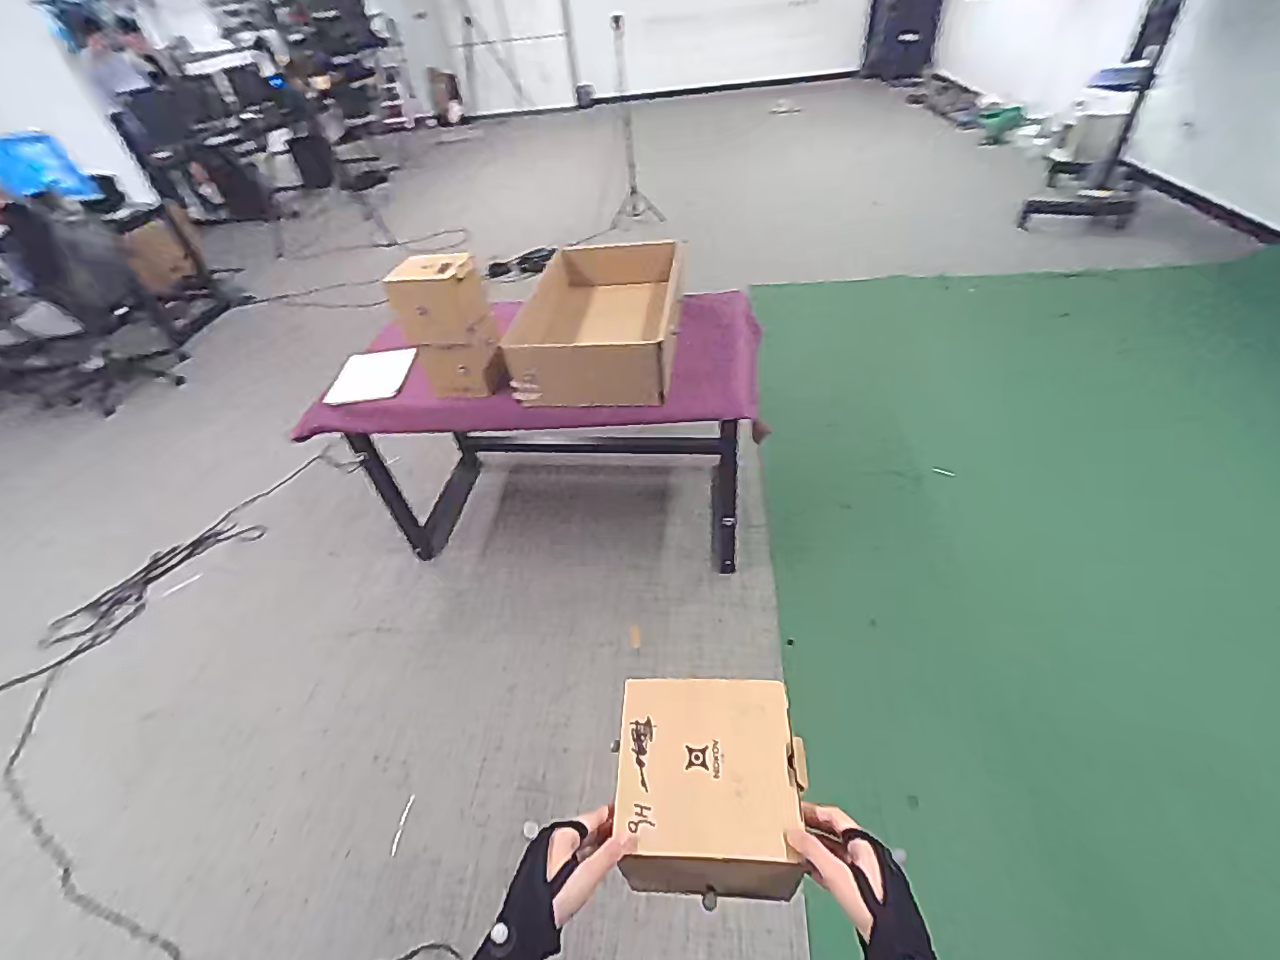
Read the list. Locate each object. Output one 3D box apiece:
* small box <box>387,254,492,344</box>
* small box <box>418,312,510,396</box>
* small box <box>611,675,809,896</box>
[{"bbox_3d":[-0.497,-0.458,1.375,0.179,0.176,0.168,2,43,10],"label":"small box"},{"bbox_3d":[-0.474,-0.345,1.492,0.168,0.176,0.179,2,42,9],"label":"small box"},{"bbox_3d":[0.071,0.330,0.584,0.179,0.176,0.168,-1,43,6],"label":"small box"}]
